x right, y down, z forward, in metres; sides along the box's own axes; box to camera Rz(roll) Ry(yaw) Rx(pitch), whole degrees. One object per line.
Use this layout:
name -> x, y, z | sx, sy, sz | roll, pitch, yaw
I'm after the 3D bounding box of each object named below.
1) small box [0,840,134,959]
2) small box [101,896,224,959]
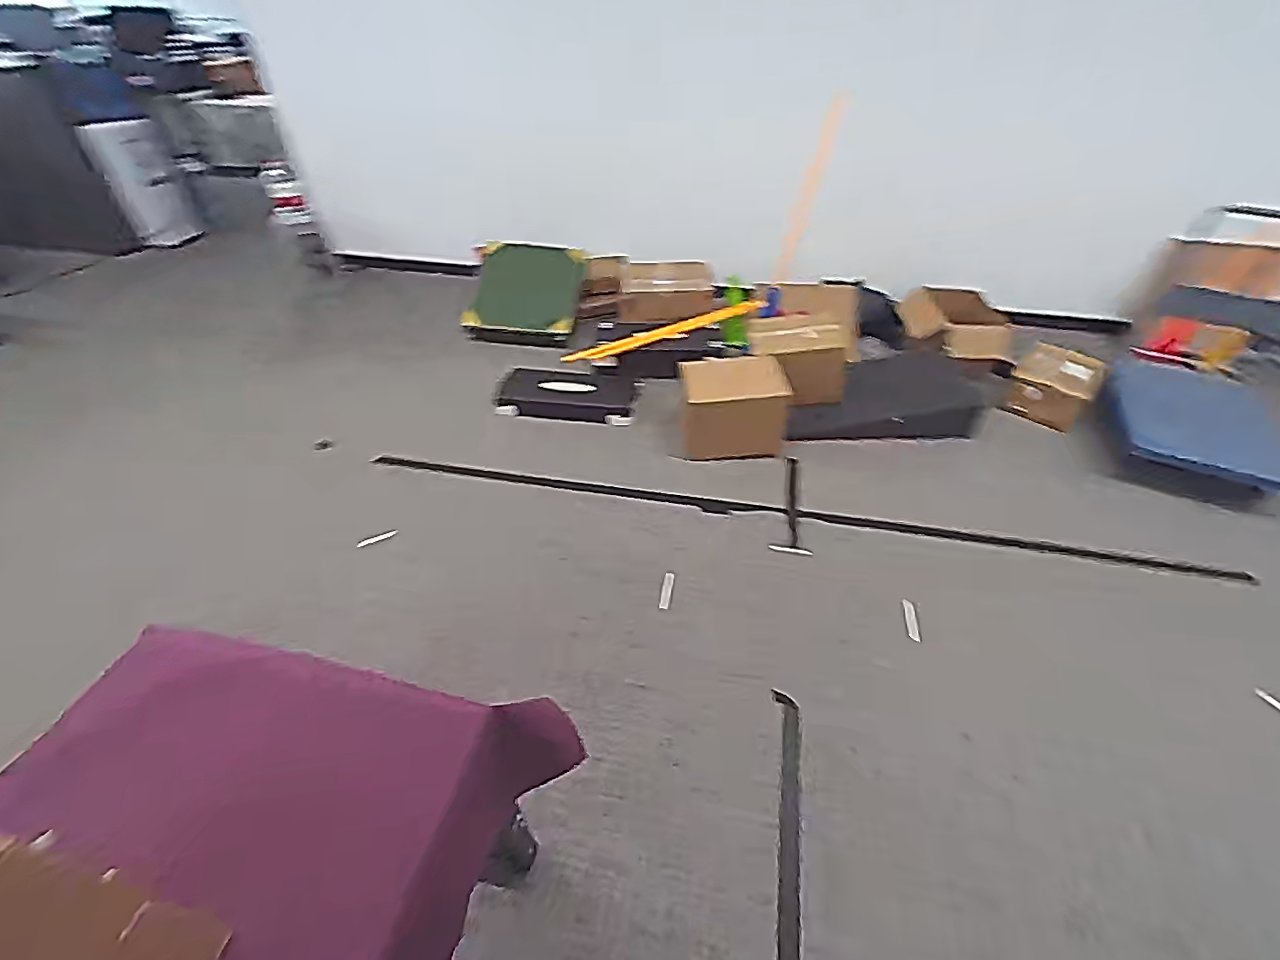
small box -> -0.552, 0.371, 0.397 | 0.168, 0.176, 0.179 | 8, 42, 7
small box -> -0.556, 0.492, 0.509 | 0.179, 0.176, 0.168 | 8, 43, 8
